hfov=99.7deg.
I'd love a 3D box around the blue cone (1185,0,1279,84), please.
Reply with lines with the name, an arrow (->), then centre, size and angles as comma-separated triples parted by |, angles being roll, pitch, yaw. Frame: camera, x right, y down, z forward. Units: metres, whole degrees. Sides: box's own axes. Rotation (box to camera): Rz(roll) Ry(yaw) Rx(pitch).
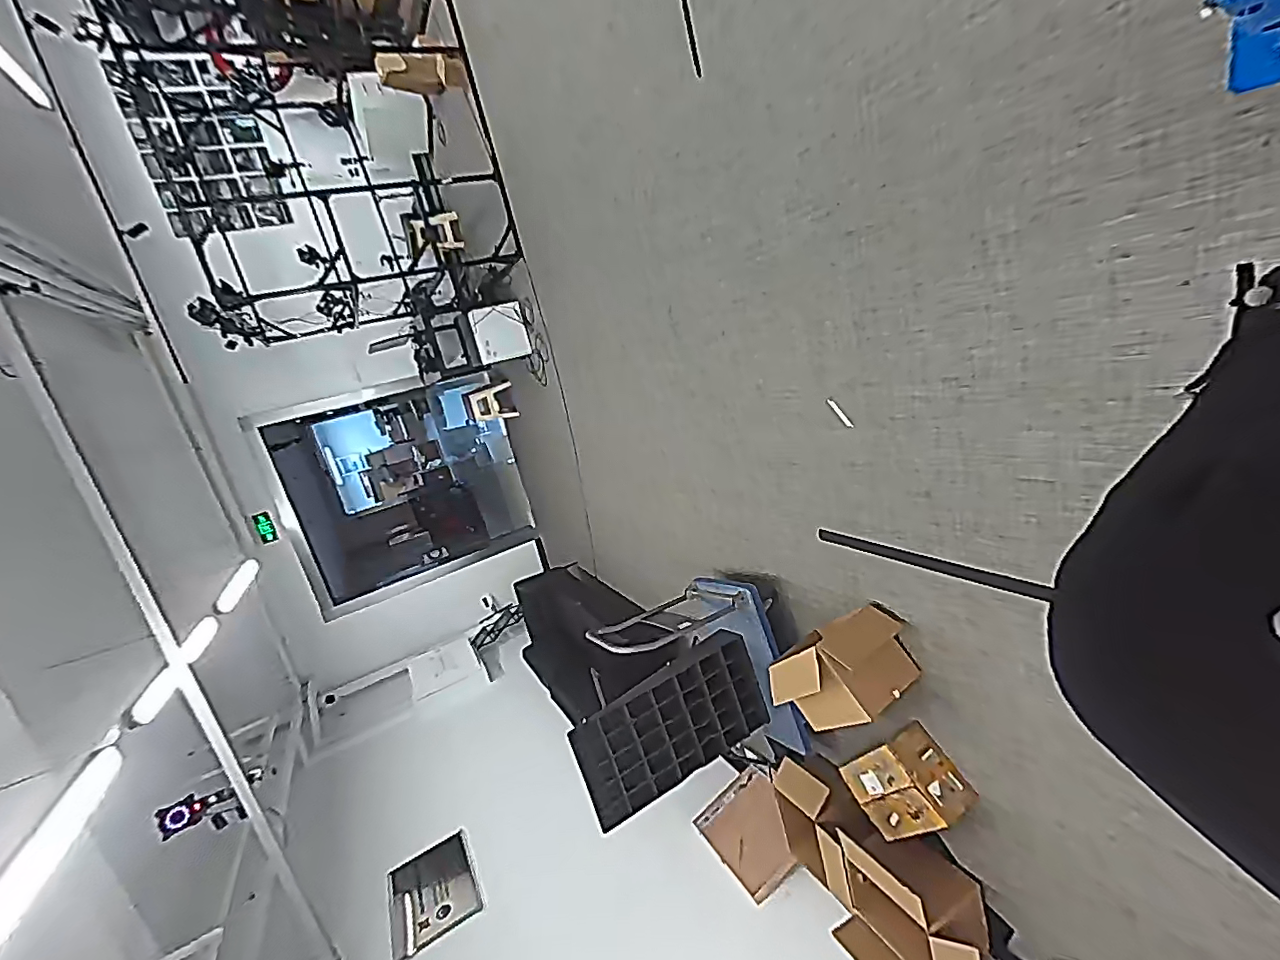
blue cone -> 0.899, -0.698, 0.768 | 0.192, 0.380, 0.193 | 23, 129, 60
